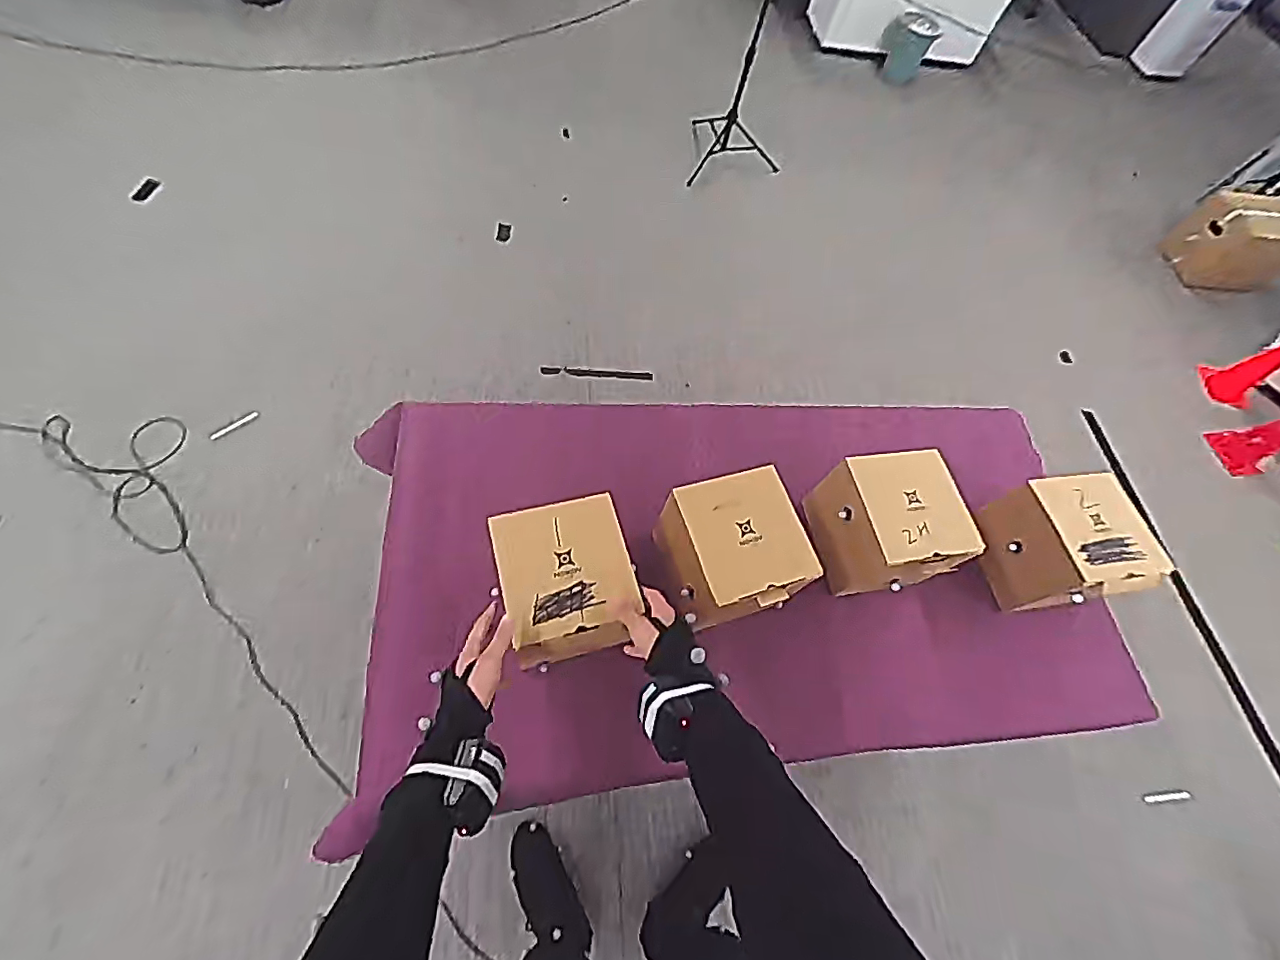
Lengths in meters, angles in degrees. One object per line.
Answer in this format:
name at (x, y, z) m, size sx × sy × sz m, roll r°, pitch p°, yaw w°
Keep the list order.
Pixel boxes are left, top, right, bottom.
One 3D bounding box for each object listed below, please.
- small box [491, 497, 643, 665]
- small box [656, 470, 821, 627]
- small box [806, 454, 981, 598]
small box at (-0.105, 0.149, 0.757) m, size 0.168 × 0.176 × 0.179 m, roll -11°, pitch 64°, yaw -15°
small box at (0.136, 0.112, 0.819) m, size 0.168 × 0.176 × 0.179 m, roll -12°, pitch 65°, yaw -16°
small box at (0.393, 0.077, 0.878) m, size 0.168 × 0.176 × 0.179 m, roll -5°, pitch 64°, yaw -11°
